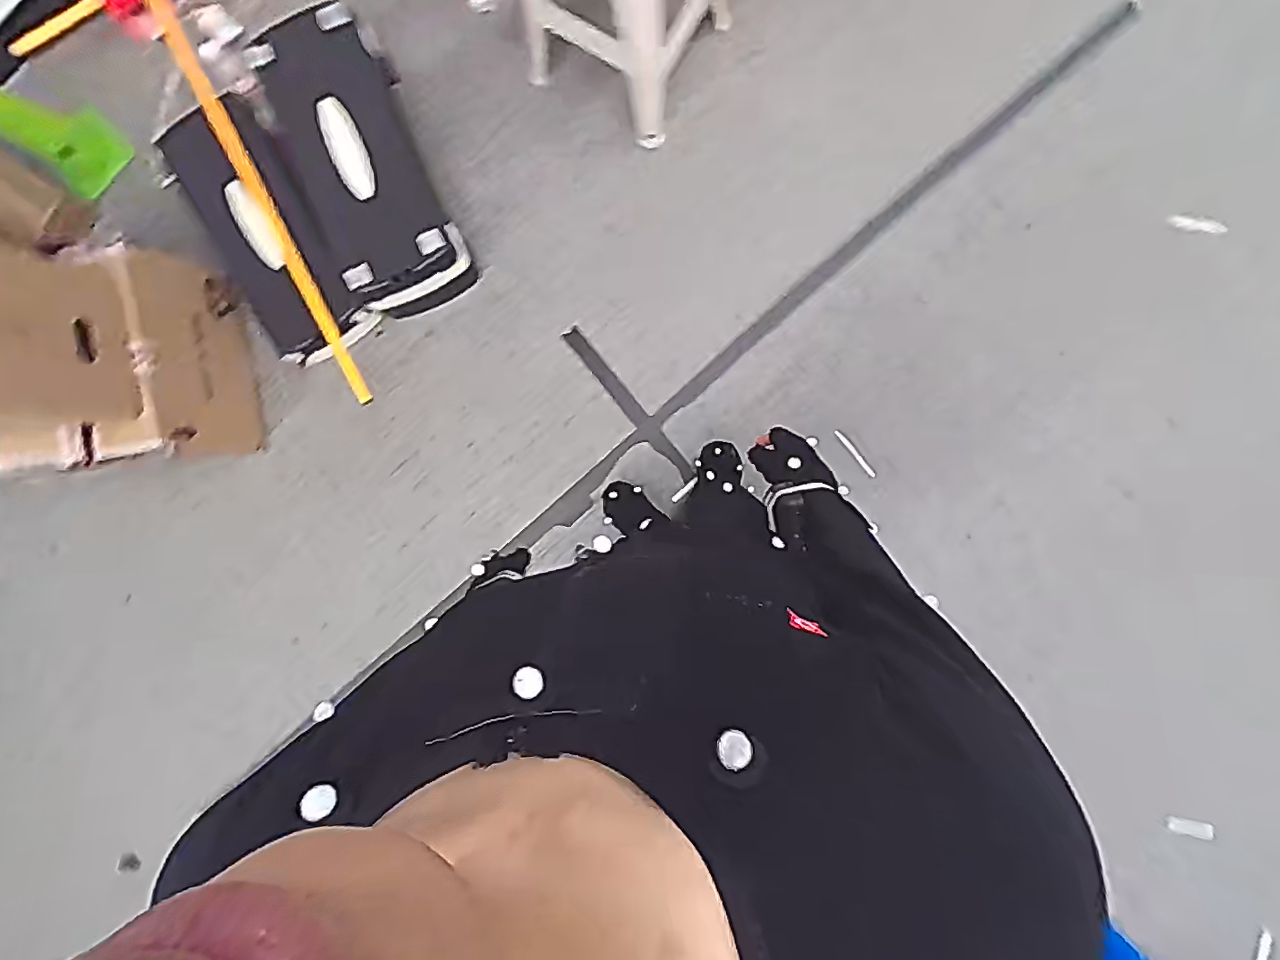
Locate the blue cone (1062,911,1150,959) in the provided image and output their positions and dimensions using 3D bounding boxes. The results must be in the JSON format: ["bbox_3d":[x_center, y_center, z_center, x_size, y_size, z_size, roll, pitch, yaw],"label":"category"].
[{"bbox_3d":[1.273,1.310,1.322,0.192,0.380,0.193,-44,91,3],"label":"blue cone"}]
